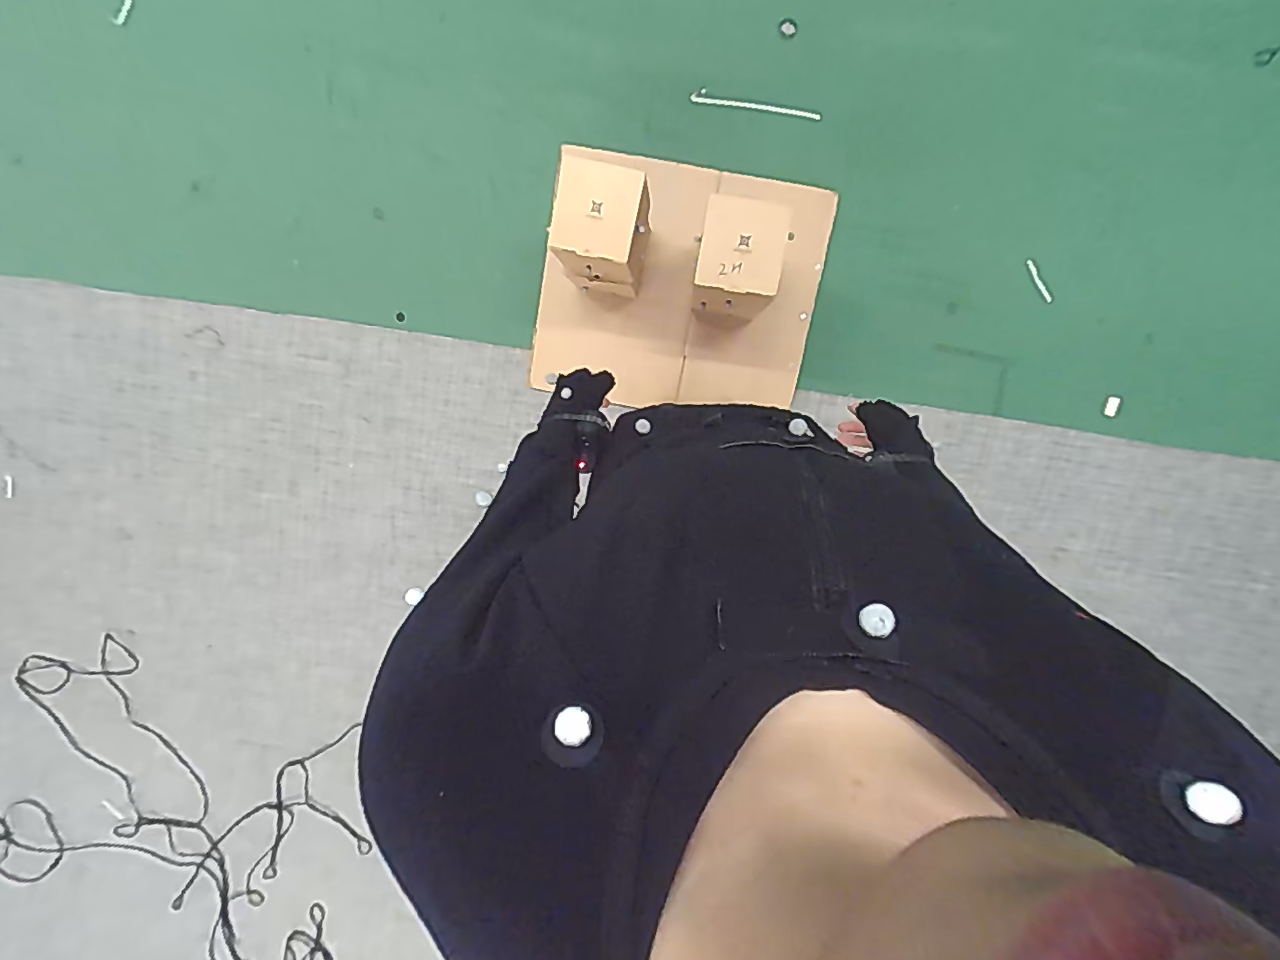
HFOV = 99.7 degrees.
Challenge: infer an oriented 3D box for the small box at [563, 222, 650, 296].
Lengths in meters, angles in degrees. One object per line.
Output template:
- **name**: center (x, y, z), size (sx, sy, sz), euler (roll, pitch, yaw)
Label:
- **small box**: center (-0.073, -0.554, 1.293), size (0.168, 0.176, 0.179), euler (12, 99, 3)

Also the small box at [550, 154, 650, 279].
- **small box**: center (-0.077, -0.540, 1.131), size (0.168, 0.176, 0.179), euler (13, 100, 2)

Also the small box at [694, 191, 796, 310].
- **small box**: center (0.208, -0.466, 1.122), size (0.168, 0.176, 0.179), euler (10, 99, 3)
